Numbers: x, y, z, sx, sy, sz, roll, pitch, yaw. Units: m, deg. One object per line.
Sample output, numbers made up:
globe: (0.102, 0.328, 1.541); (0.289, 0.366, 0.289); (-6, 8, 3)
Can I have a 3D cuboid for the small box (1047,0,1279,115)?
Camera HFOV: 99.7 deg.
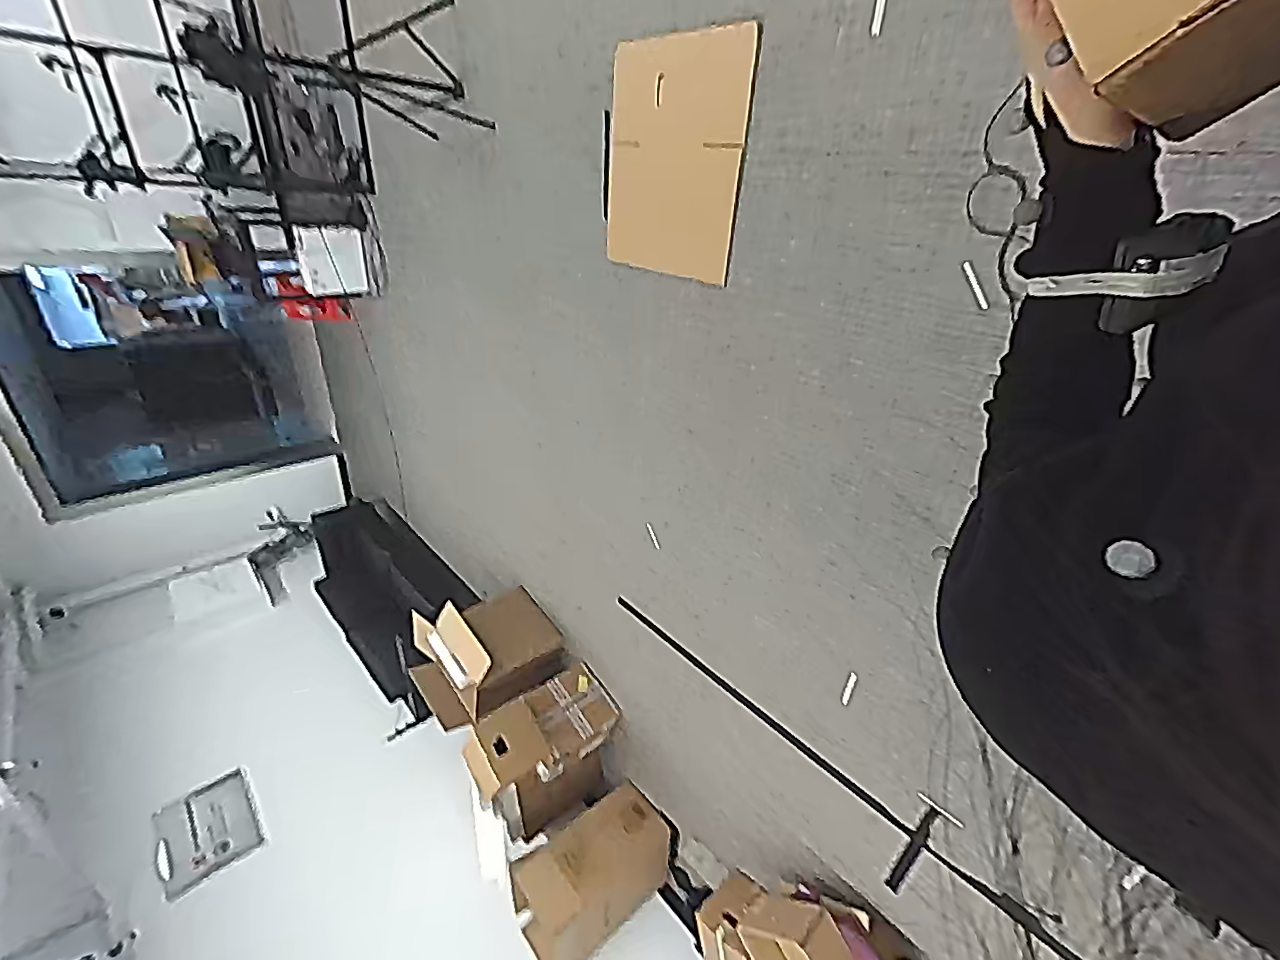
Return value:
small box: (0.277, -0.299, 0.231); (0.168, 0.176, 0.179); (-28, 81, 55)
